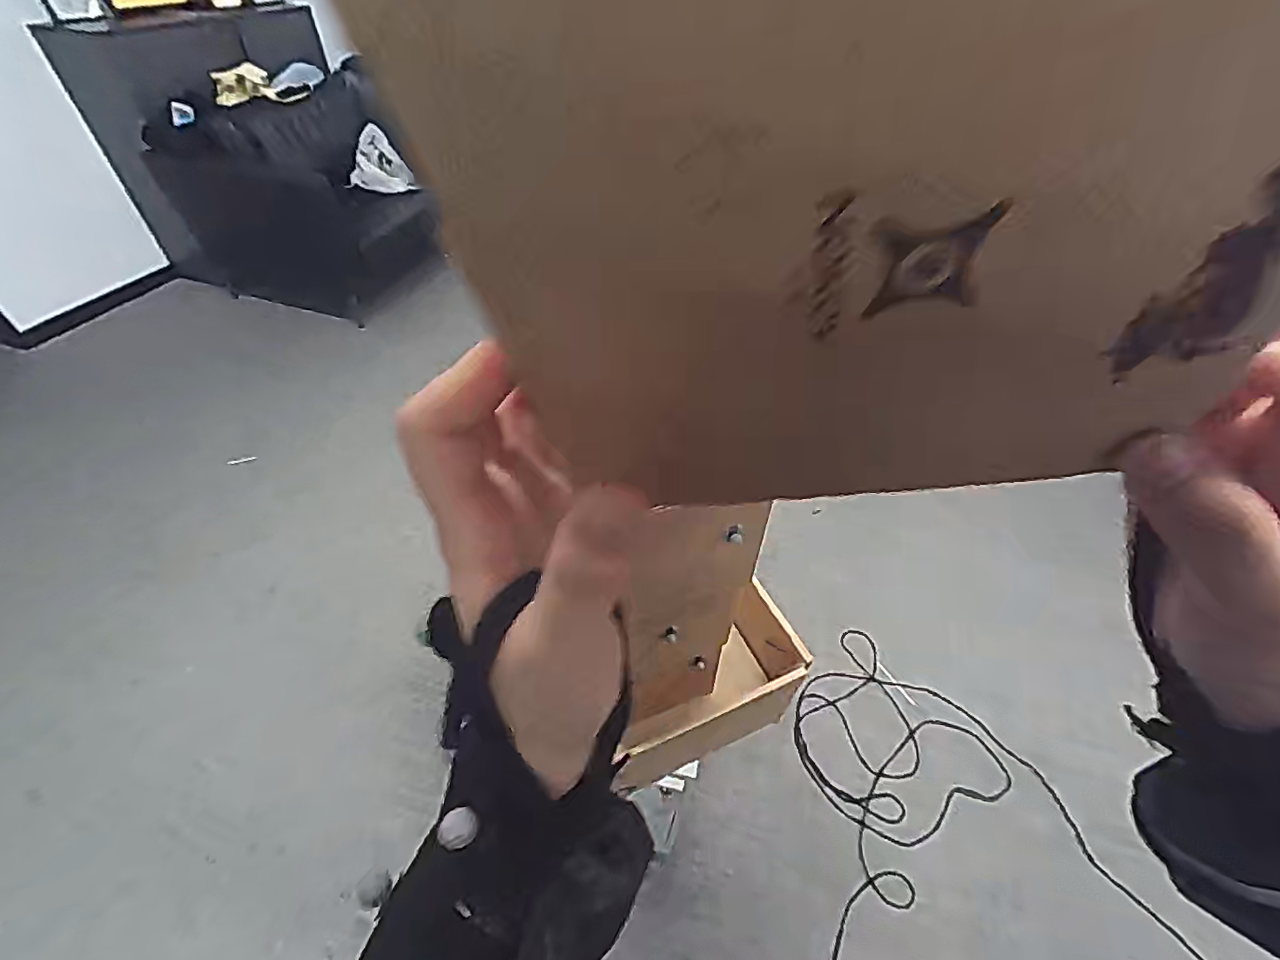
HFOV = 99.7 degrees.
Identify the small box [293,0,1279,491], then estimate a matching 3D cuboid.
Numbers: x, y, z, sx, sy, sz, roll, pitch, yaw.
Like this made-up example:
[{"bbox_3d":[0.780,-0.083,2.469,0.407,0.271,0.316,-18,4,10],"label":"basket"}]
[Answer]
[{"bbox_3d":[0.043,-0.114,0.170,0.179,0.168,0.176,-4,55,11],"label":"small box"}]
